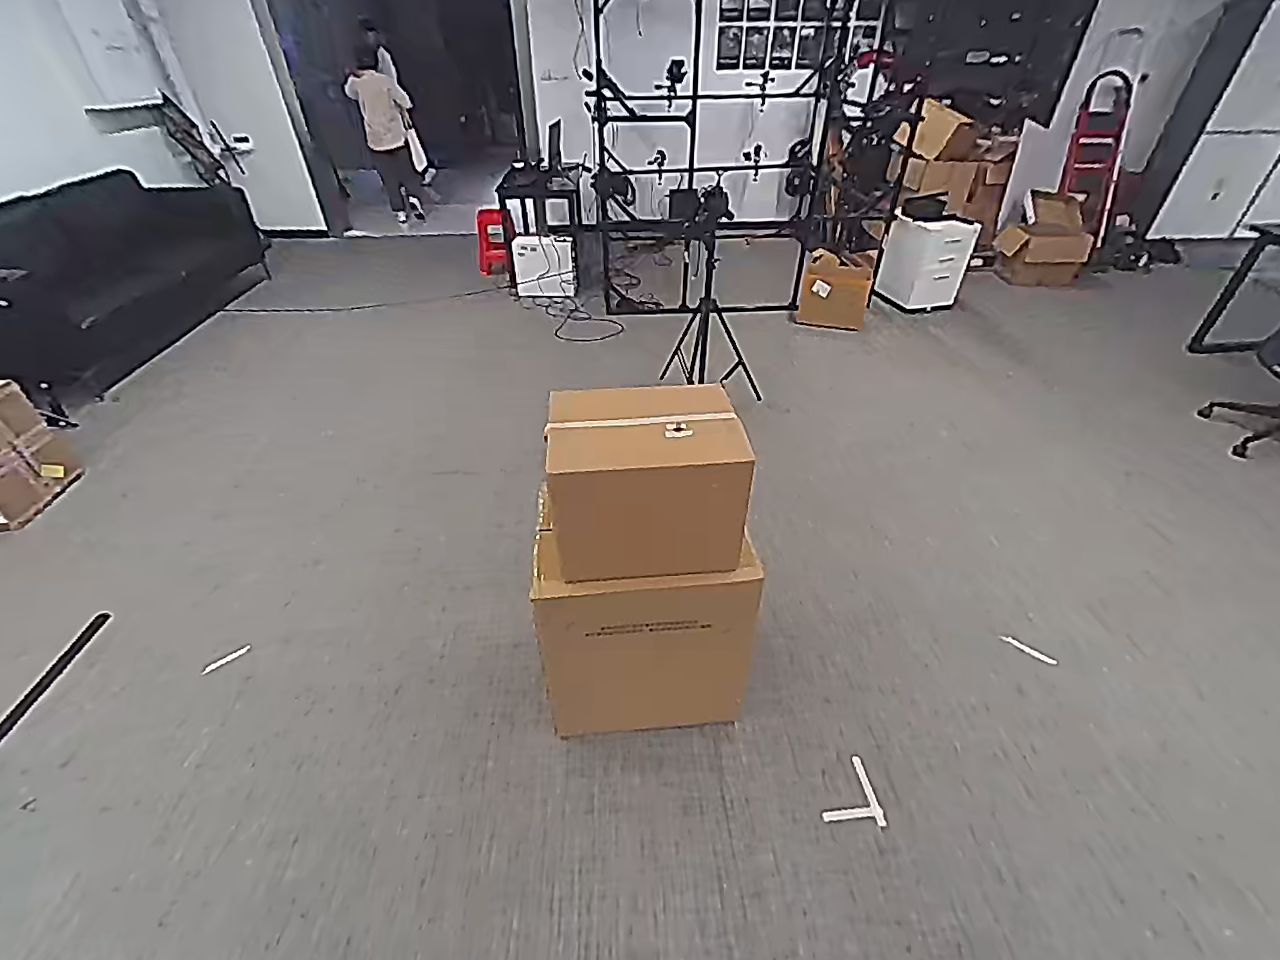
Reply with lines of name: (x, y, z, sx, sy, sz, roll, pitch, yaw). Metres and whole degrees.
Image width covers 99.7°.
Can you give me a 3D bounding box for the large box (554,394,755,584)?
large box: (0.013, 0.014, 1.252, 0.408, 0.320, 0.320, -3, 39, -5)
